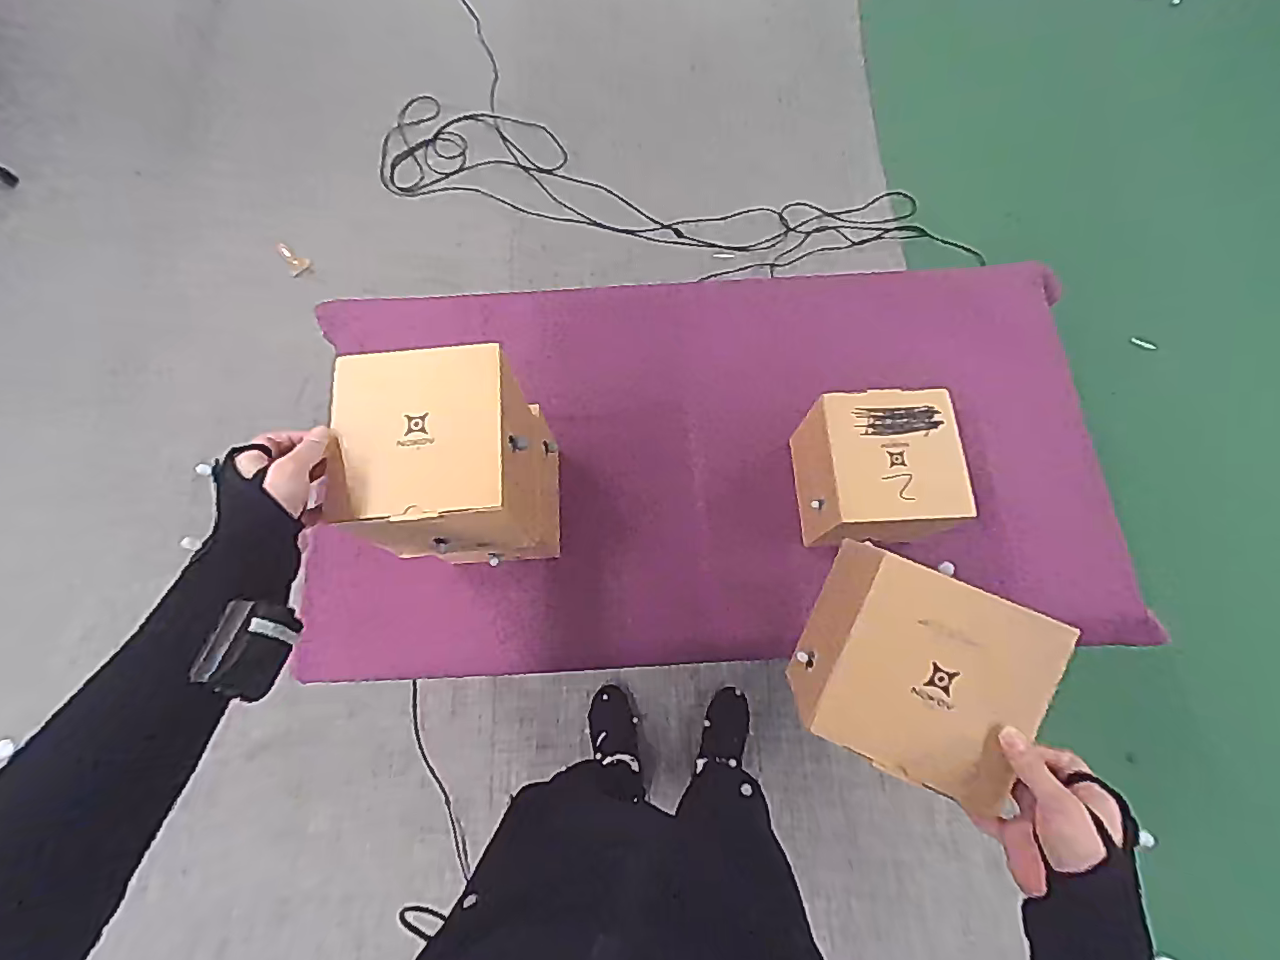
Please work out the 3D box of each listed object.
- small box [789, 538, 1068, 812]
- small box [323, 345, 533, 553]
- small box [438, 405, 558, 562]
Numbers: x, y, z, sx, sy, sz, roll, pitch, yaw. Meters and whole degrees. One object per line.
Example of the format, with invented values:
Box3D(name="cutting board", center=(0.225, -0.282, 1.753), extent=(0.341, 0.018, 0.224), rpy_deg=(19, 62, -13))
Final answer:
Box3D(name="small box", center=(0.259, 0.170, 0.537), extent=(0.168, 0.176, 0.179), rpy_deg=(23, 91, 9))
Box3D(name="small box", center=(-0.217, -0.025, 0.600), extent=(0.168, 0.176, 0.179), rpy_deg=(-6, 73, -1))
Box3D(name="small box", center=(-0.210, 0.012, 0.759), extent=(0.168, 0.176, 0.179), rpy_deg=(-4, 73, 0))
